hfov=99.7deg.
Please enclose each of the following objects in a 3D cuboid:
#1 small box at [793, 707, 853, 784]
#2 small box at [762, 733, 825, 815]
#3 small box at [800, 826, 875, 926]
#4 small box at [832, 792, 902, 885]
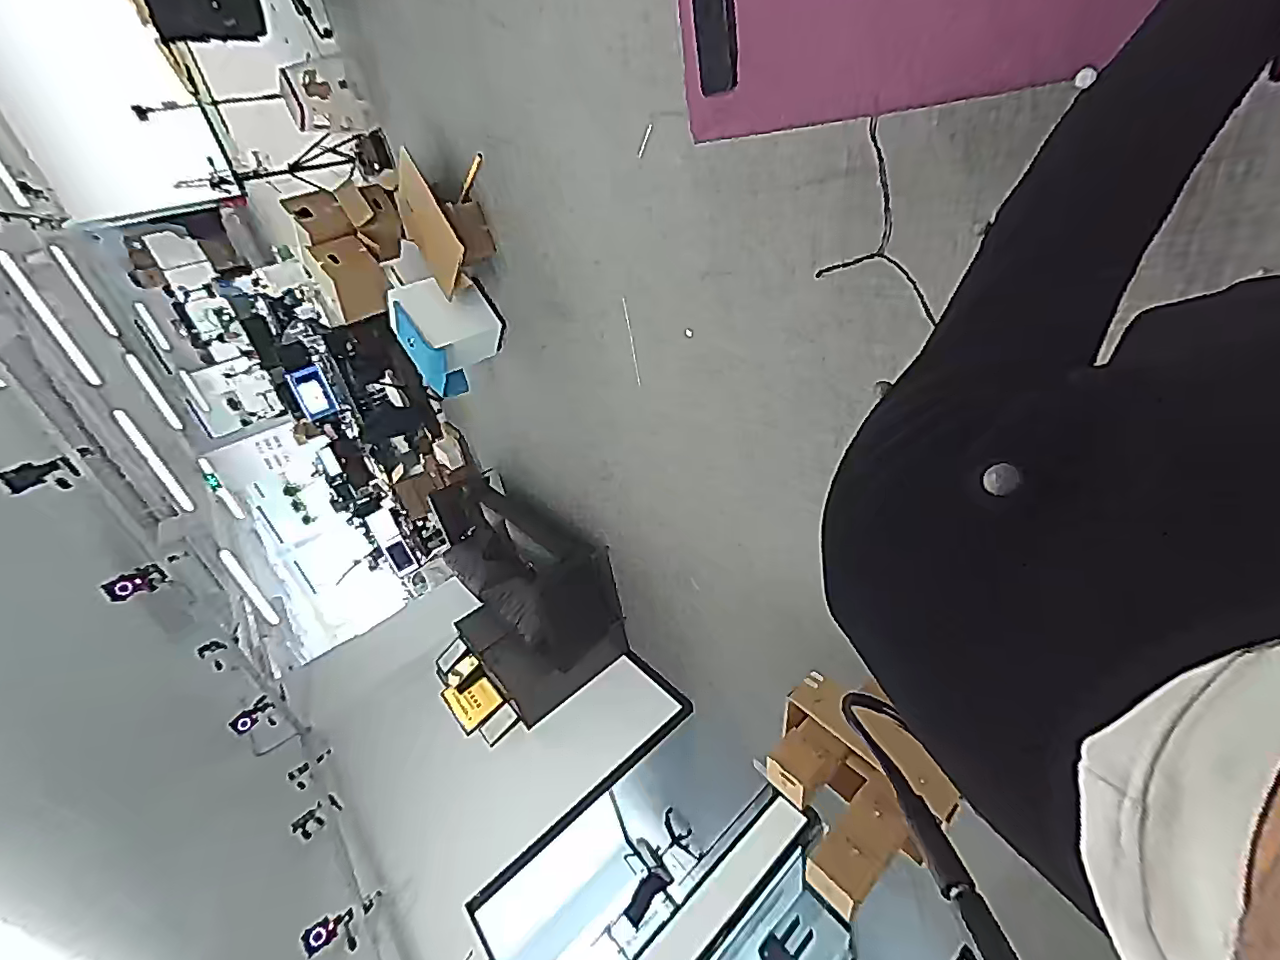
[{"bbox_3d":[0.709,1.038,2.117,0.168,0.176,0.179,33,140,40],"label":"small box"},{"bbox_3d":[0.578,1.100,2.038,0.168,0.176,0.179,29,138,43],"label":"small box"},{"bbox_3d":[0.644,1.288,1.765,0.168,0.176,0.179,29,138,42],"label":"small box"},{"bbox_3d":[0.768,1.219,1.845,0.168,0.176,0.179,29,138,42],"label":"small box"}]
